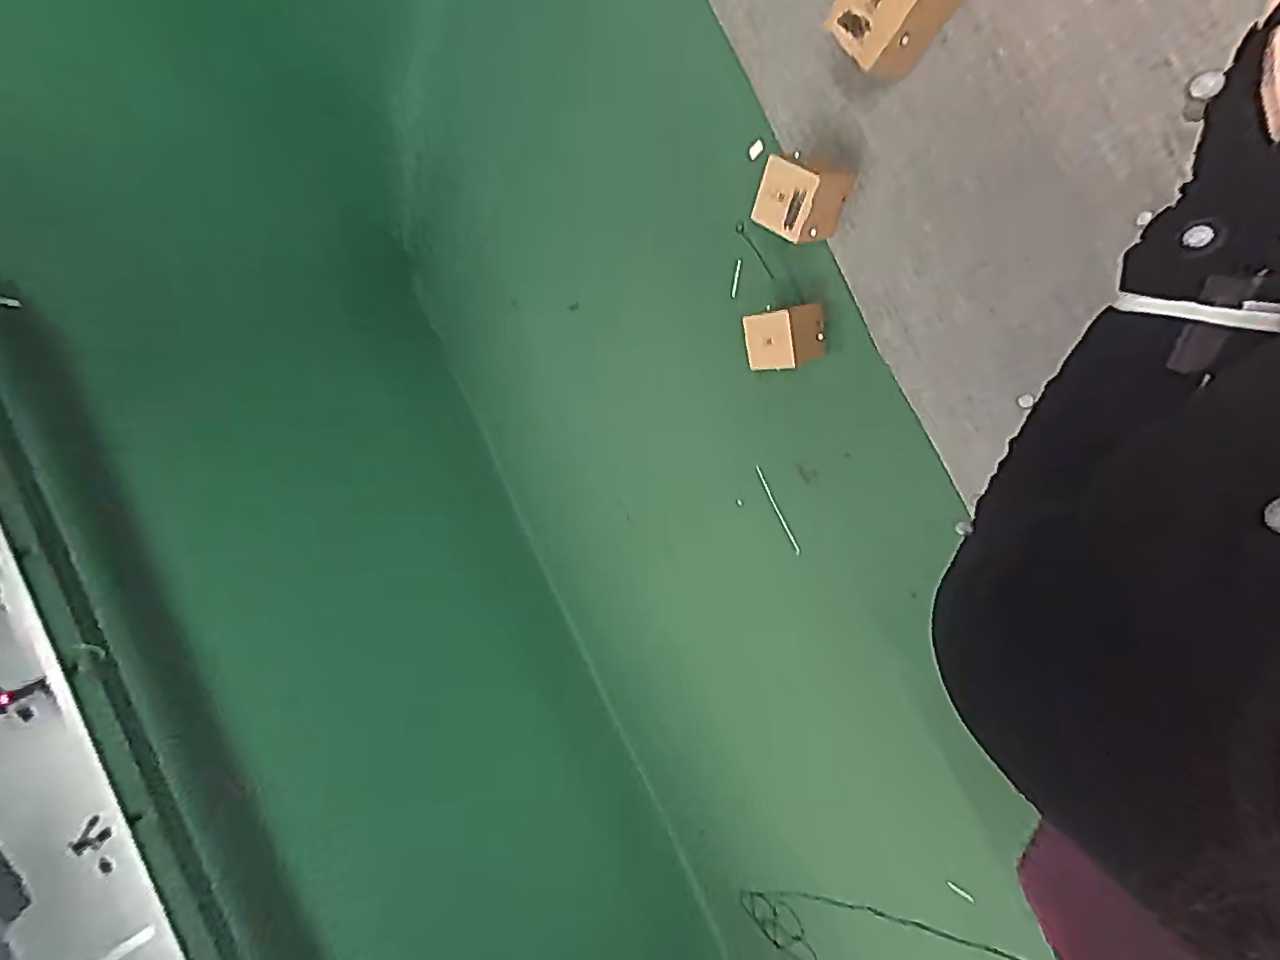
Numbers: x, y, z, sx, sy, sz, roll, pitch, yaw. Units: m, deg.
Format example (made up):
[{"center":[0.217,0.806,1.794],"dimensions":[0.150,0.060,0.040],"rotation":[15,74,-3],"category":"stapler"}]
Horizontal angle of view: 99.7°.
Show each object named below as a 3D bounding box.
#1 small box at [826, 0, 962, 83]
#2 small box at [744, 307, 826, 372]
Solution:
[{"center":[0.555,-1.009,1.179],"dimensions":[0.168,0.176,0.179],"rotation":[58,145,12],"category":"small box"},{"center":[0.450,-0.432,1.674],"dimensions":[0.179,0.176,0.168],"rotation":[11,119,51],"category":"small box"}]
